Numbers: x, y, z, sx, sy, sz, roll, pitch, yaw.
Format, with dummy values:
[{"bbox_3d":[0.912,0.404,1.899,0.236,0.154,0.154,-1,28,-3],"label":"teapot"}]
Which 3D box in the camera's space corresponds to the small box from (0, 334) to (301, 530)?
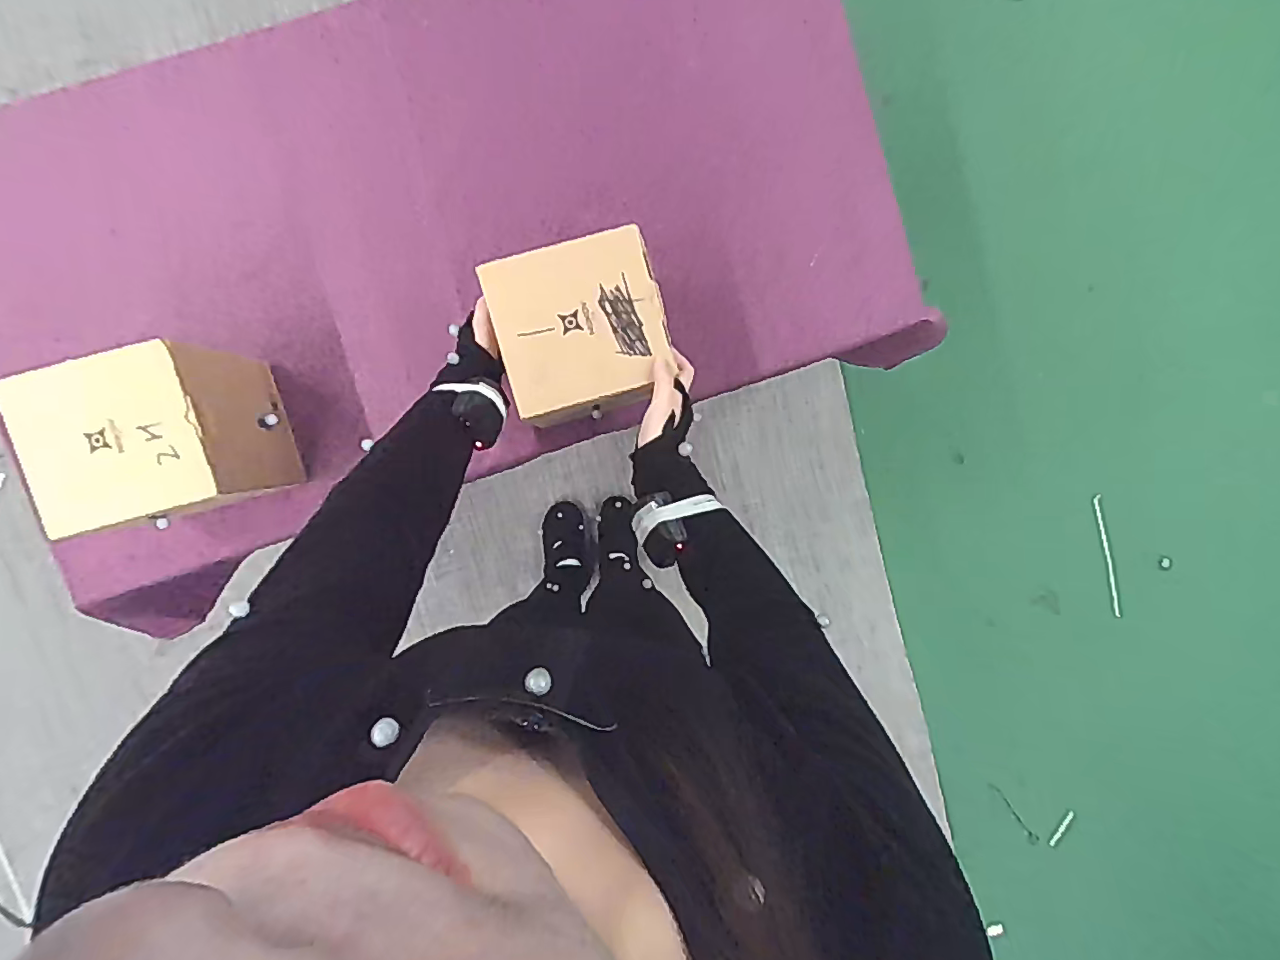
[{"bbox_3d":[-0.539,-0.052,0.620,0.179,0.176,0.168,-15,95,-3],"label":"small box"}]
